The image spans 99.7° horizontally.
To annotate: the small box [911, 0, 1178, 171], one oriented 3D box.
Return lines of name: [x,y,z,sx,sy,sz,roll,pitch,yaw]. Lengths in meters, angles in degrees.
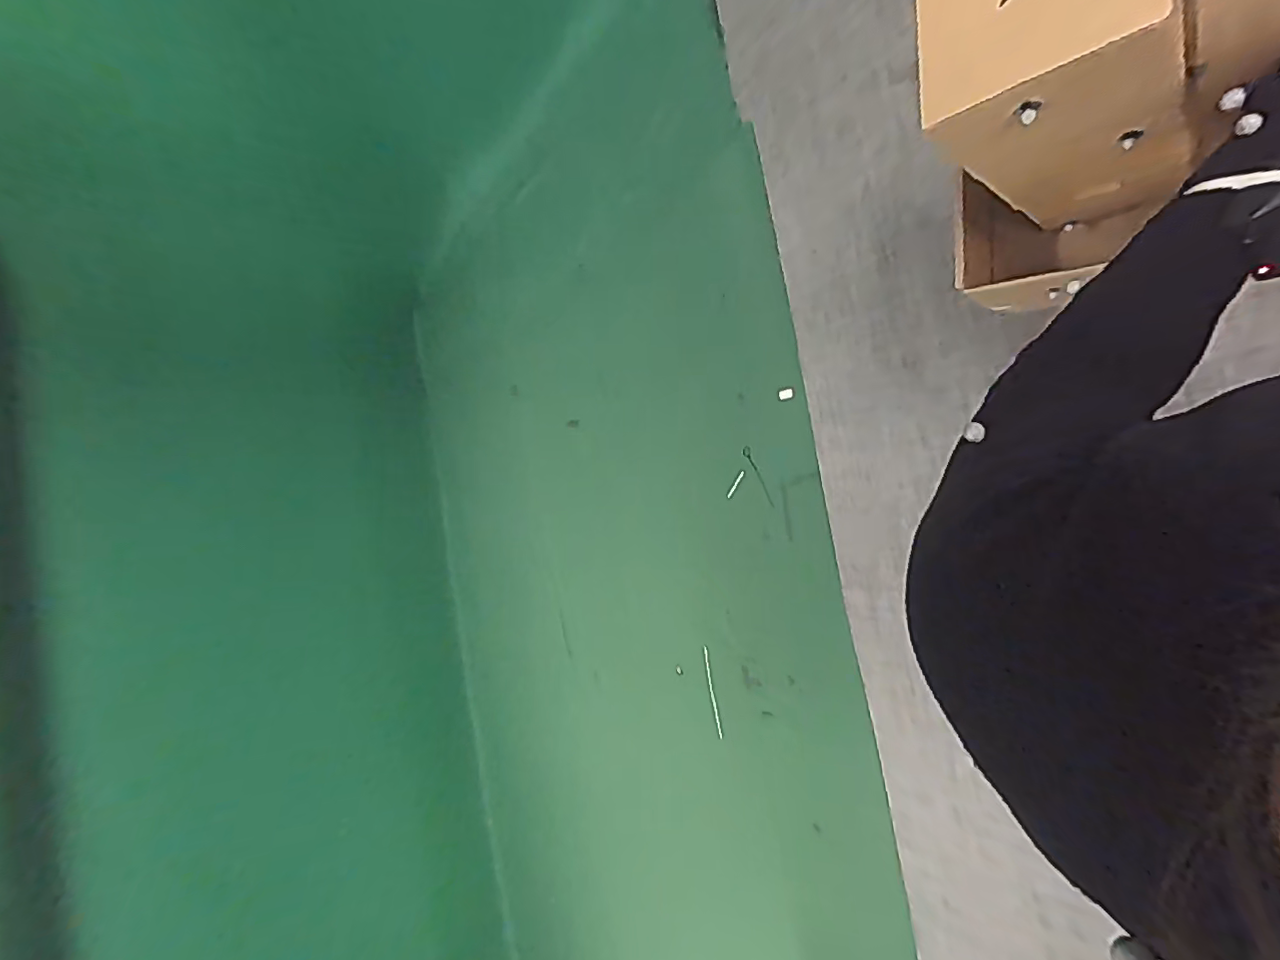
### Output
small box: [0.380,-0.426,0.511,0.179,0.176,0.168,0,96,47]

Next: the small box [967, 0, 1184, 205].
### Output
small box: [0.500,-0.444,0.624,0.179,0.176,0.168,1,96,46]
